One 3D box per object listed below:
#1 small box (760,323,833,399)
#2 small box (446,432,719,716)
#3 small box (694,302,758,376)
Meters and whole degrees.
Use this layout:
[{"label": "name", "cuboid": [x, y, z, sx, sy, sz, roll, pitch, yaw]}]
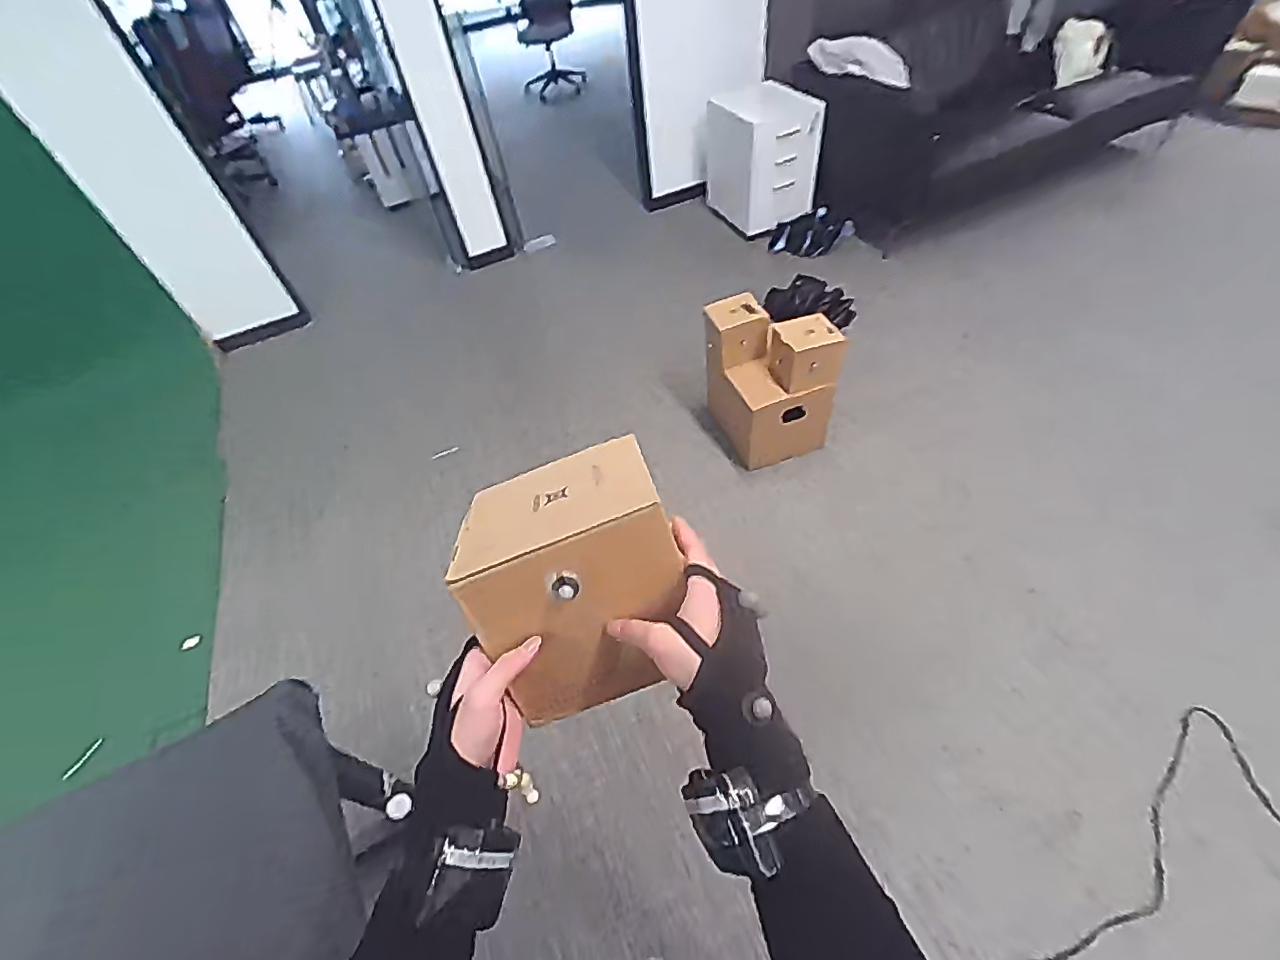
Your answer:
[{"label": "small box", "cuboid": [0.512, -0.394, 1.803, 0.179, 0.176, 0.168, -16, 48, -9]}, {"label": "small box", "cuboid": [-0.047, 0.080, 0.495, 0.179, 0.176, 0.168, -19, 24, -1]}, {"label": "small box", "cuboid": [0.303, -0.500, 1.922, 0.179, 0.176, 0.168, -19, 49, -6]}]
